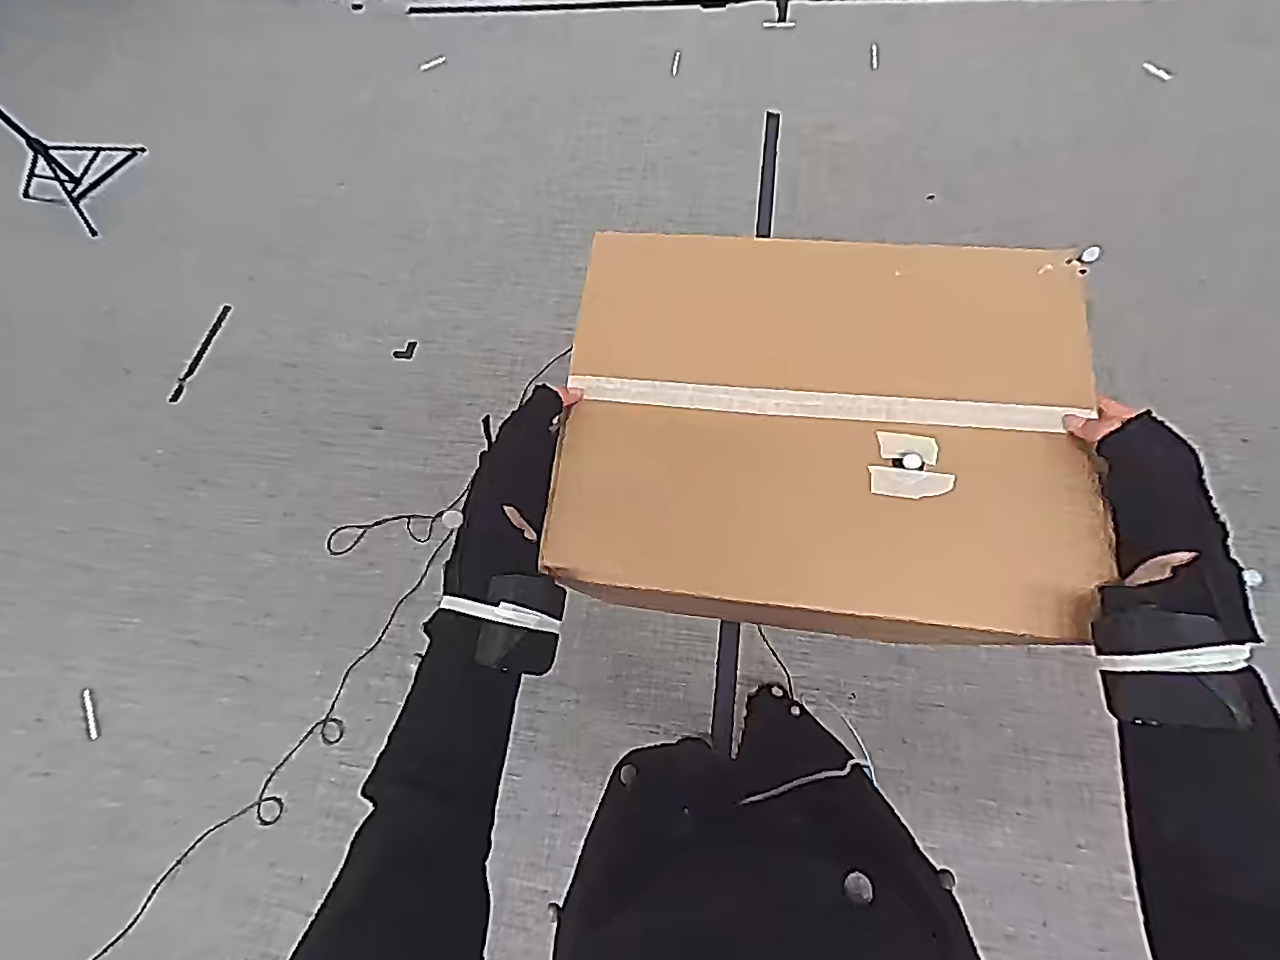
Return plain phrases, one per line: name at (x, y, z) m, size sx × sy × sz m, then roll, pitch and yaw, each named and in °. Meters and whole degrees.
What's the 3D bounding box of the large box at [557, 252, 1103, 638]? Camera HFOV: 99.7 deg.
large box at (0.155, -0.009, 0.582) m, size 0.408 × 0.320 × 0.320 m, roll 5°, pitch 75°, yaw 6°
